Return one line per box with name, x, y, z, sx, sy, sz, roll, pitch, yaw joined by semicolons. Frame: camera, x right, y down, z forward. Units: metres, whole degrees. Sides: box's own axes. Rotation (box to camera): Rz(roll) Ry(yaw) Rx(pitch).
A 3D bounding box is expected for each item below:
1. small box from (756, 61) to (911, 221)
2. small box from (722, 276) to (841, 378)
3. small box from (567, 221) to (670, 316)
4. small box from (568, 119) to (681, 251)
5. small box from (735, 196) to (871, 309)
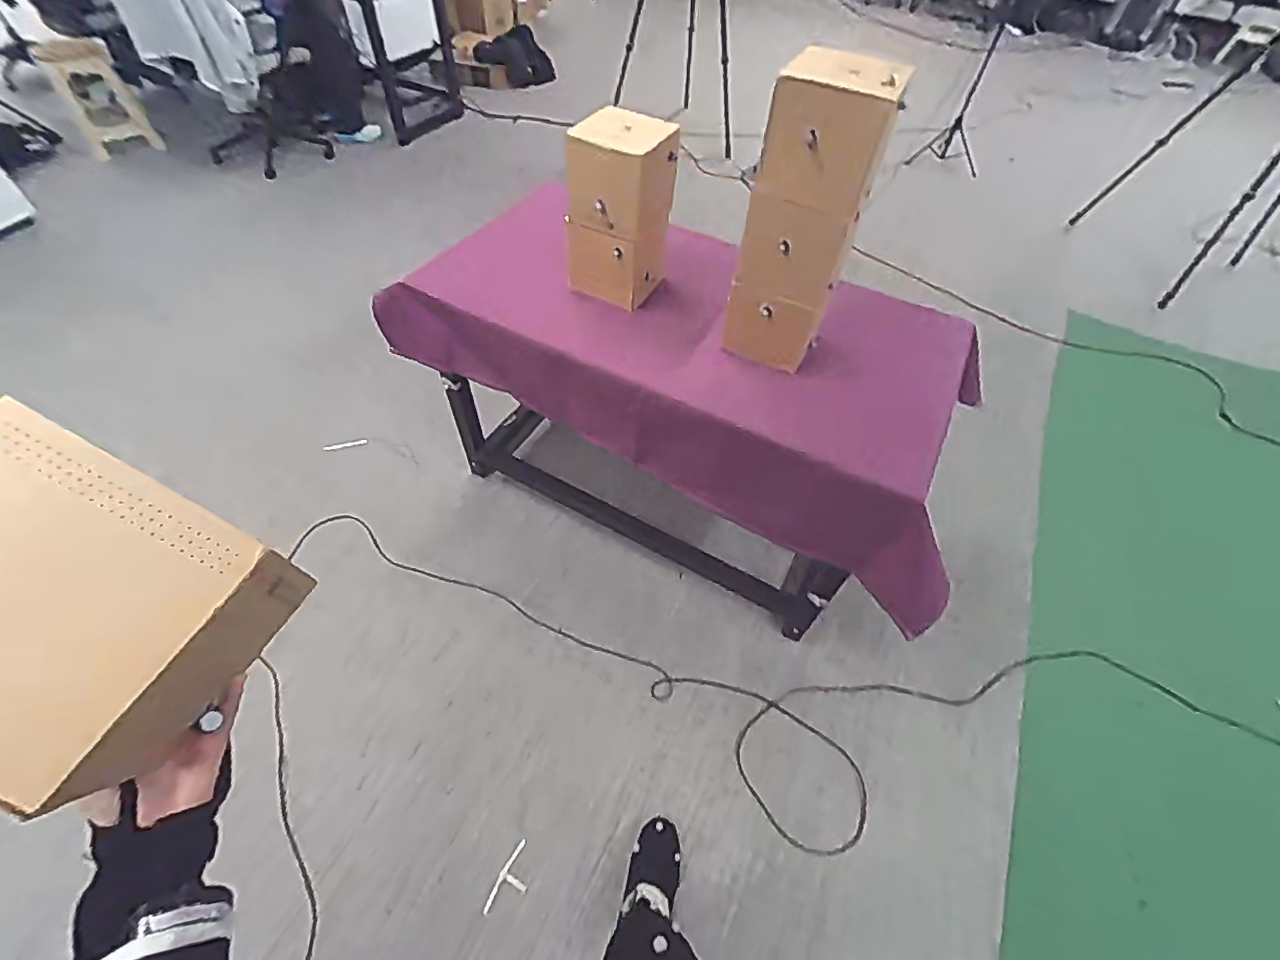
small box;0.305;-0.547;0.878;0.179;0.176;0.168;23;55;15
small box;0.289;-0.342;1.134;0.179;0.176;0.168;26;55;15
small box;-0.051;-0.504;1.242;0.179;0.176;0.168;24;54;14
small box;-0.034;-0.605;1.112;0.168;0.176;0.179;24;54;14
small box;0.297;-0.444;1.006;0.179;0.176;0.168;24;55;16
